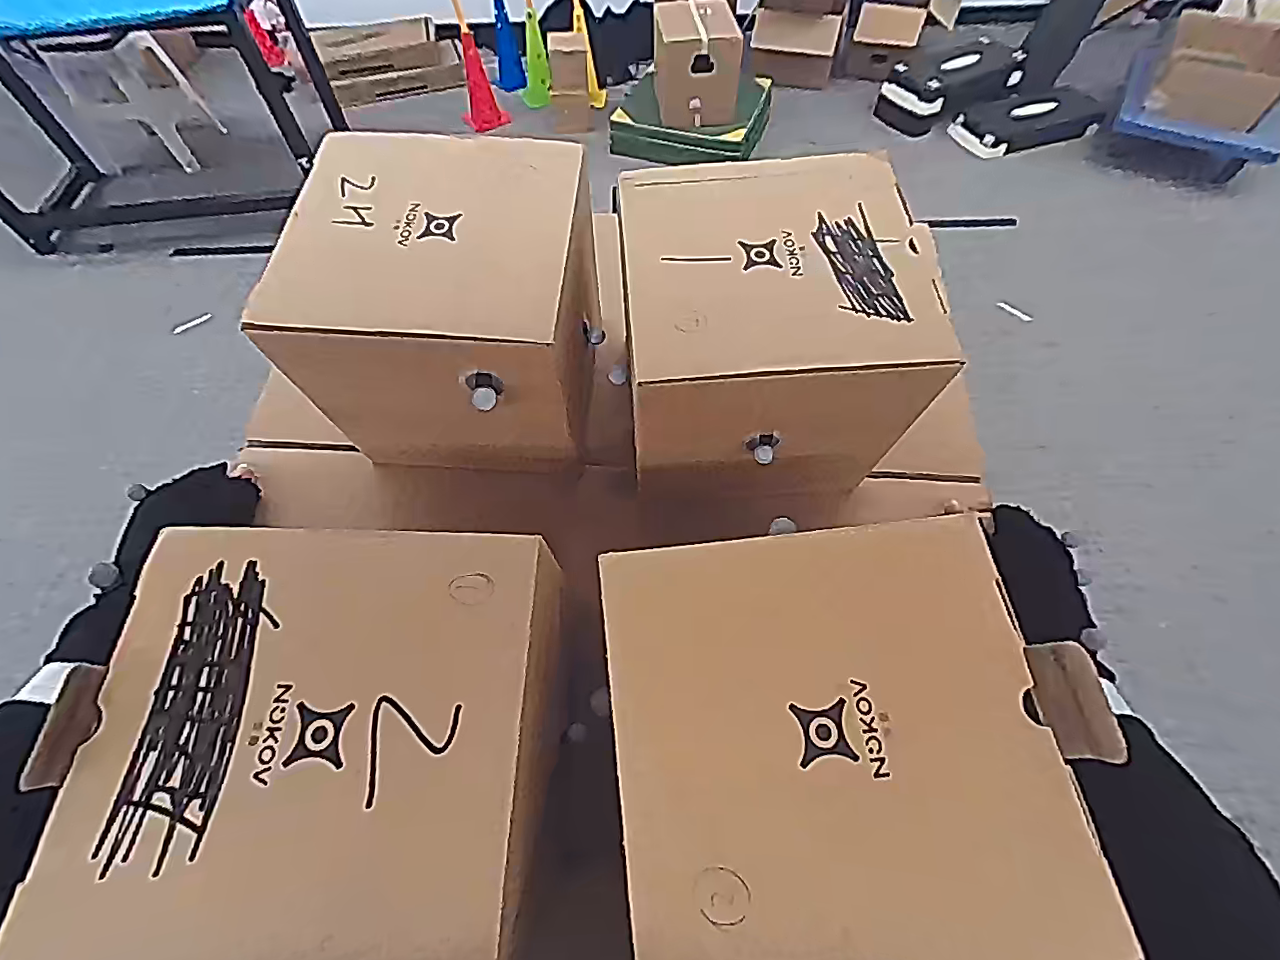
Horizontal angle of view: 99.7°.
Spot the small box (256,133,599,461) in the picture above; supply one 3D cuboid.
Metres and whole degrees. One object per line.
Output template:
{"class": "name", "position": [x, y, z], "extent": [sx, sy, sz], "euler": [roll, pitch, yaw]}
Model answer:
{"class": "small box", "position": [-0.128, -0.125, 0.412], "extent": [0.179, 0.176, 0.168], "euler": [4, 65, 2]}
